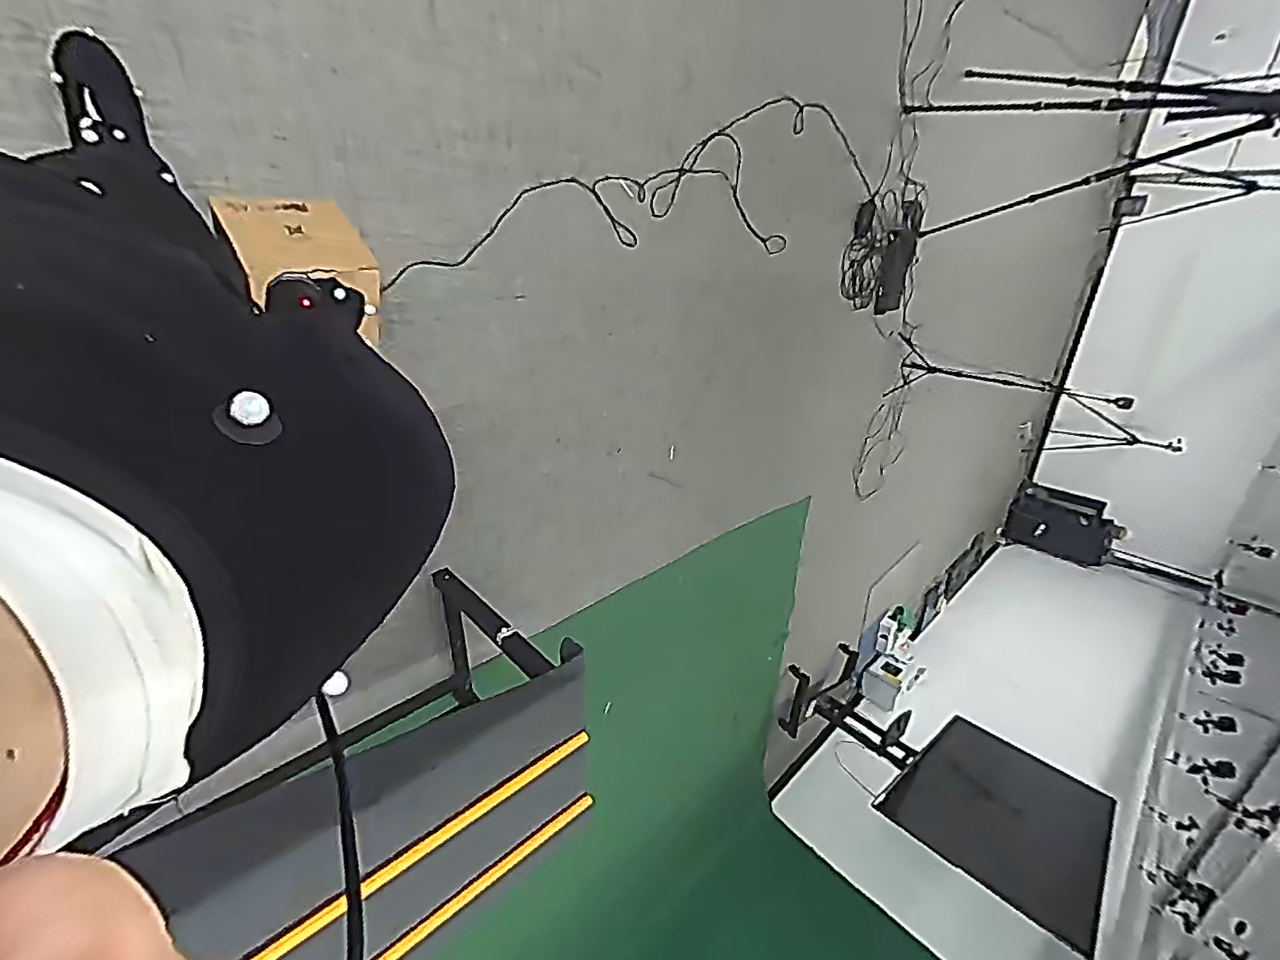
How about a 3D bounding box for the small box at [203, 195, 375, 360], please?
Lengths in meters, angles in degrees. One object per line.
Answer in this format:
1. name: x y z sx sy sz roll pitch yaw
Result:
1. small box: -0.518 -0.301 0.821 0.168 0.179 0.176 -24 159 -37
